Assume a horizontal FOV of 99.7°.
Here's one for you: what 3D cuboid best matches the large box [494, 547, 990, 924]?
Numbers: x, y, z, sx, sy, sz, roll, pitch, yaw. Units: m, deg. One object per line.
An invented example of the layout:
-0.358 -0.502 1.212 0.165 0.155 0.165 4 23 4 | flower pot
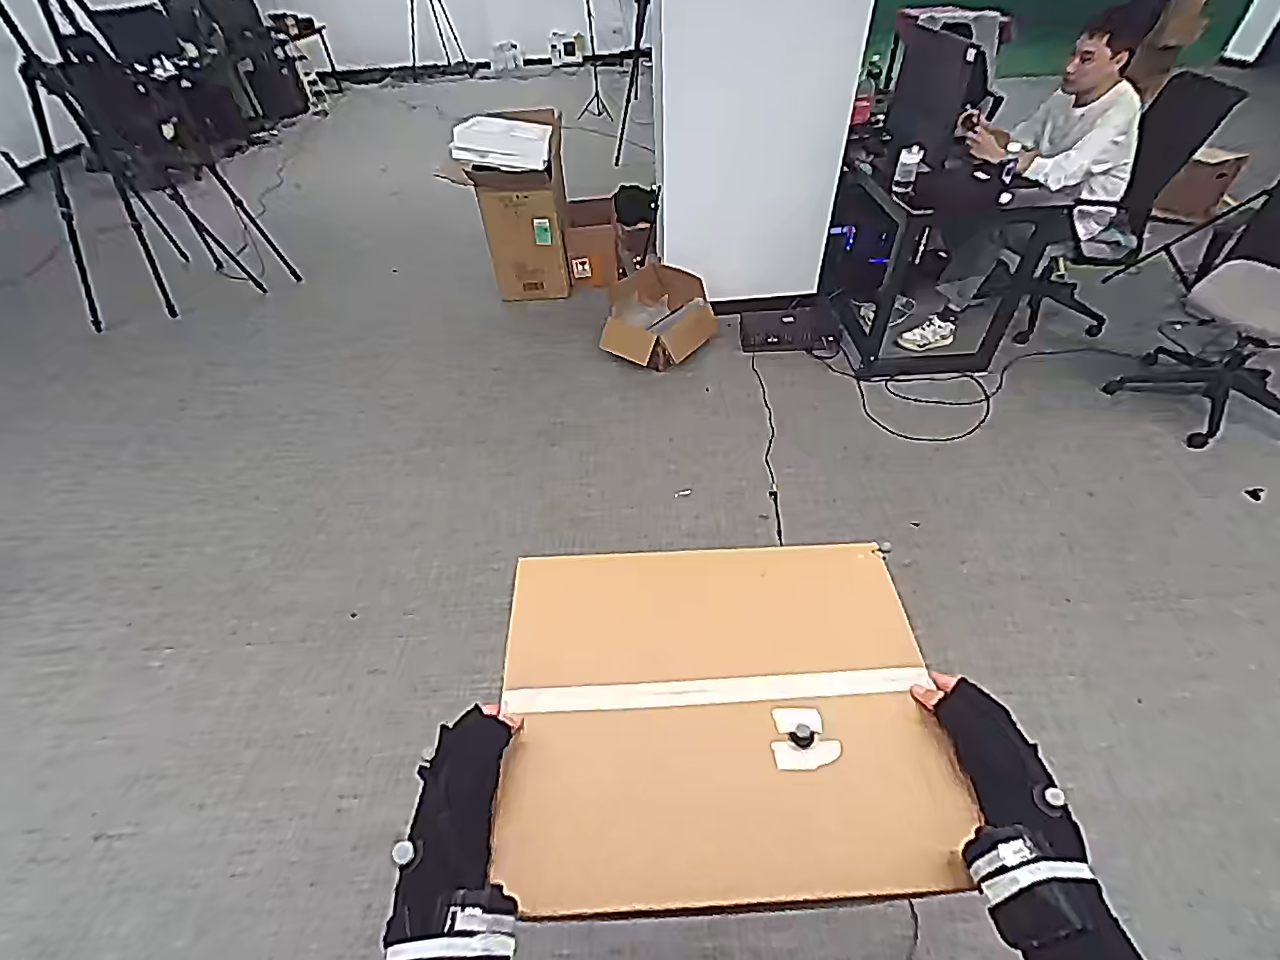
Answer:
0.073 0.299 0.629 0.408 0.320 0.320 -2 50 -2 | large box
